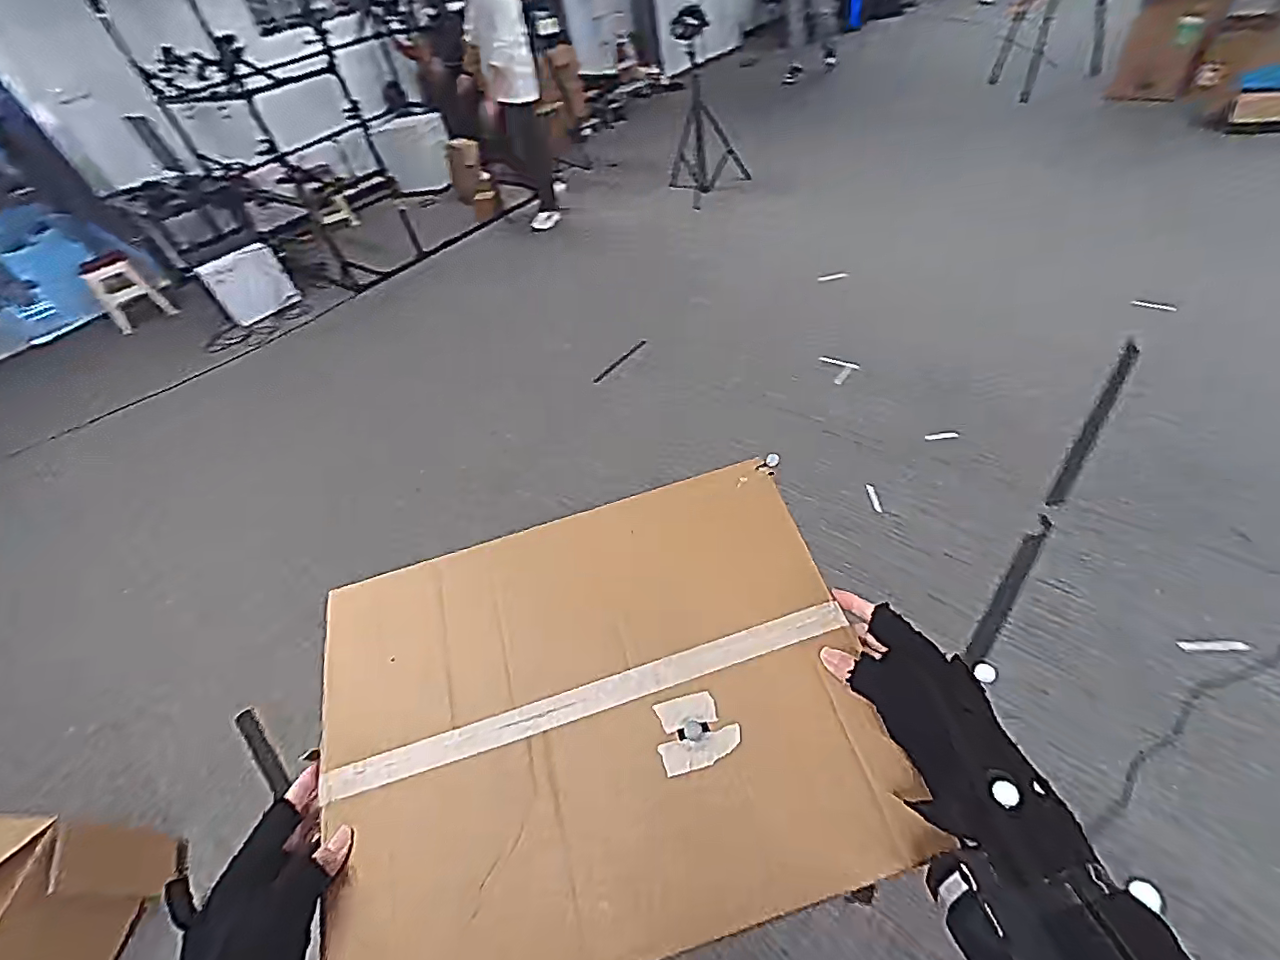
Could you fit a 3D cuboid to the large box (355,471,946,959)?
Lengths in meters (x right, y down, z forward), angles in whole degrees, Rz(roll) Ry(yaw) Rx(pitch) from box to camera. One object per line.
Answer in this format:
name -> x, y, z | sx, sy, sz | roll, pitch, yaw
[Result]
large box -> -0.011, 0.249, 0.546 | 0.408, 0.320, 0.320 | -17, 58, -3
